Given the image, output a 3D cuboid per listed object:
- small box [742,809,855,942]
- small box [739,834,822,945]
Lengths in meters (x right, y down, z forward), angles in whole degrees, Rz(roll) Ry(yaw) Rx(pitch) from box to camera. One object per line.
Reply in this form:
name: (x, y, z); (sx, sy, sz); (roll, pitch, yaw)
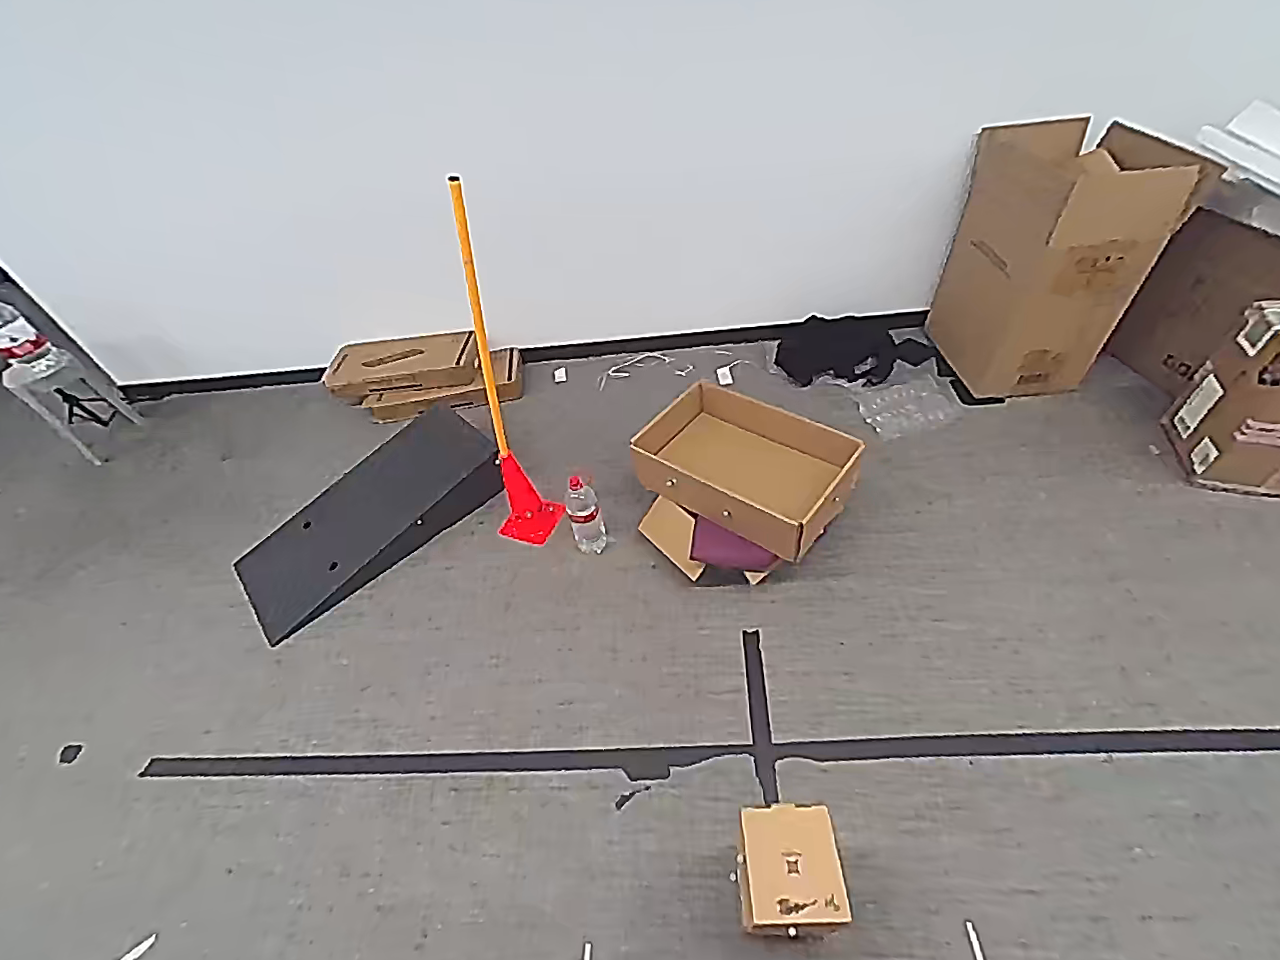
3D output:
small box: (0.285, 0.742, 1.015); (0.168, 0.176, 0.179); (-5, 44, 4)
small box: (0.303, 0.856, 1.132); (0.179, 0.176, 0.168); (-5, 44, 7)
